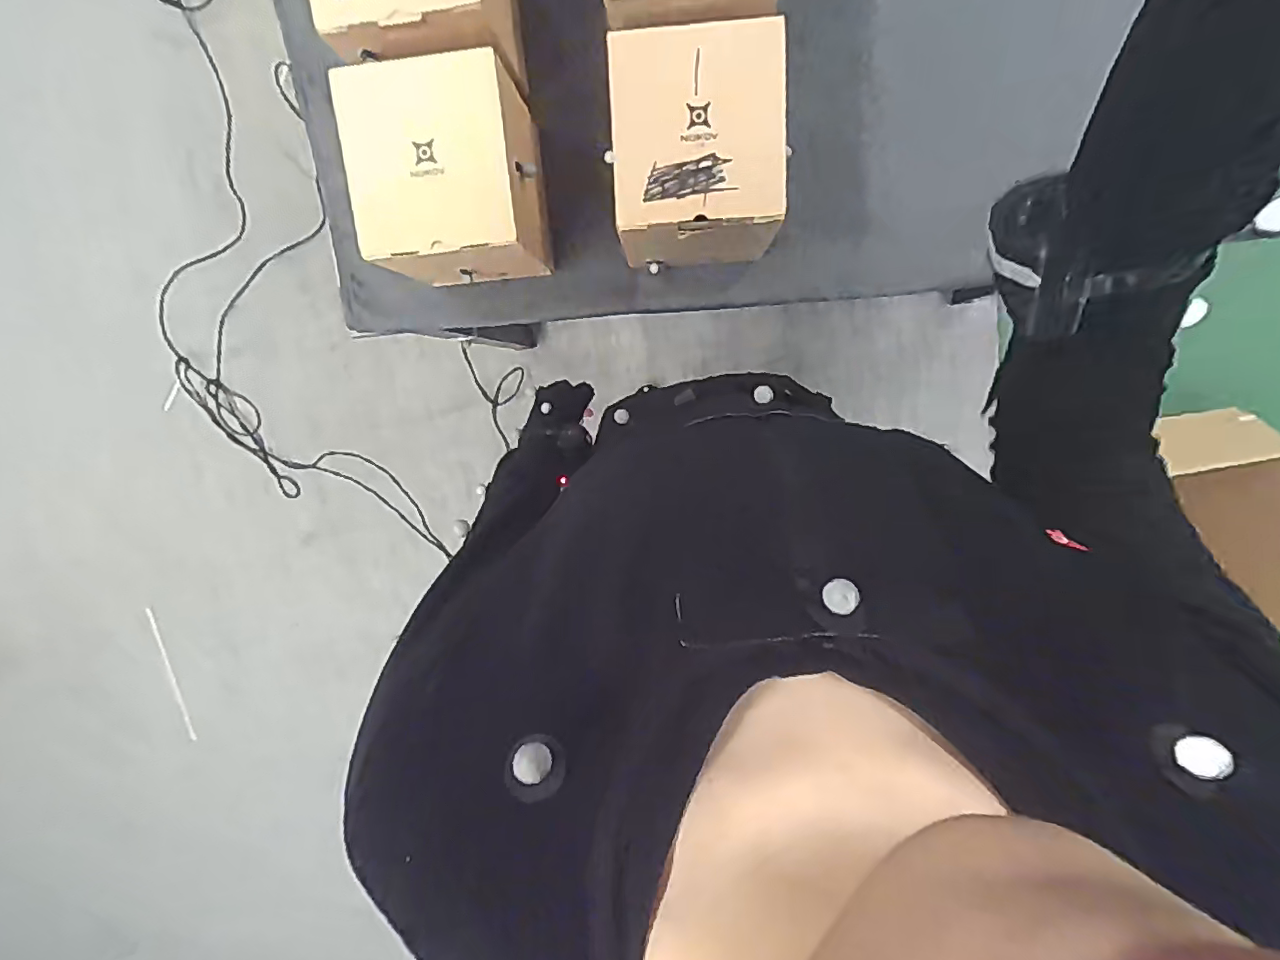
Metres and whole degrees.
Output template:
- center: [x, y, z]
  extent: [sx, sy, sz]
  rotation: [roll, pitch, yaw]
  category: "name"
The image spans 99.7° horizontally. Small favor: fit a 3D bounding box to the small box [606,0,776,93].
- center: [0.045, -0.545, 0.557]
  extent: [0.168, 0.176, 0.179]
  rotation: [-4, 100, 5]
  category: "small box"
